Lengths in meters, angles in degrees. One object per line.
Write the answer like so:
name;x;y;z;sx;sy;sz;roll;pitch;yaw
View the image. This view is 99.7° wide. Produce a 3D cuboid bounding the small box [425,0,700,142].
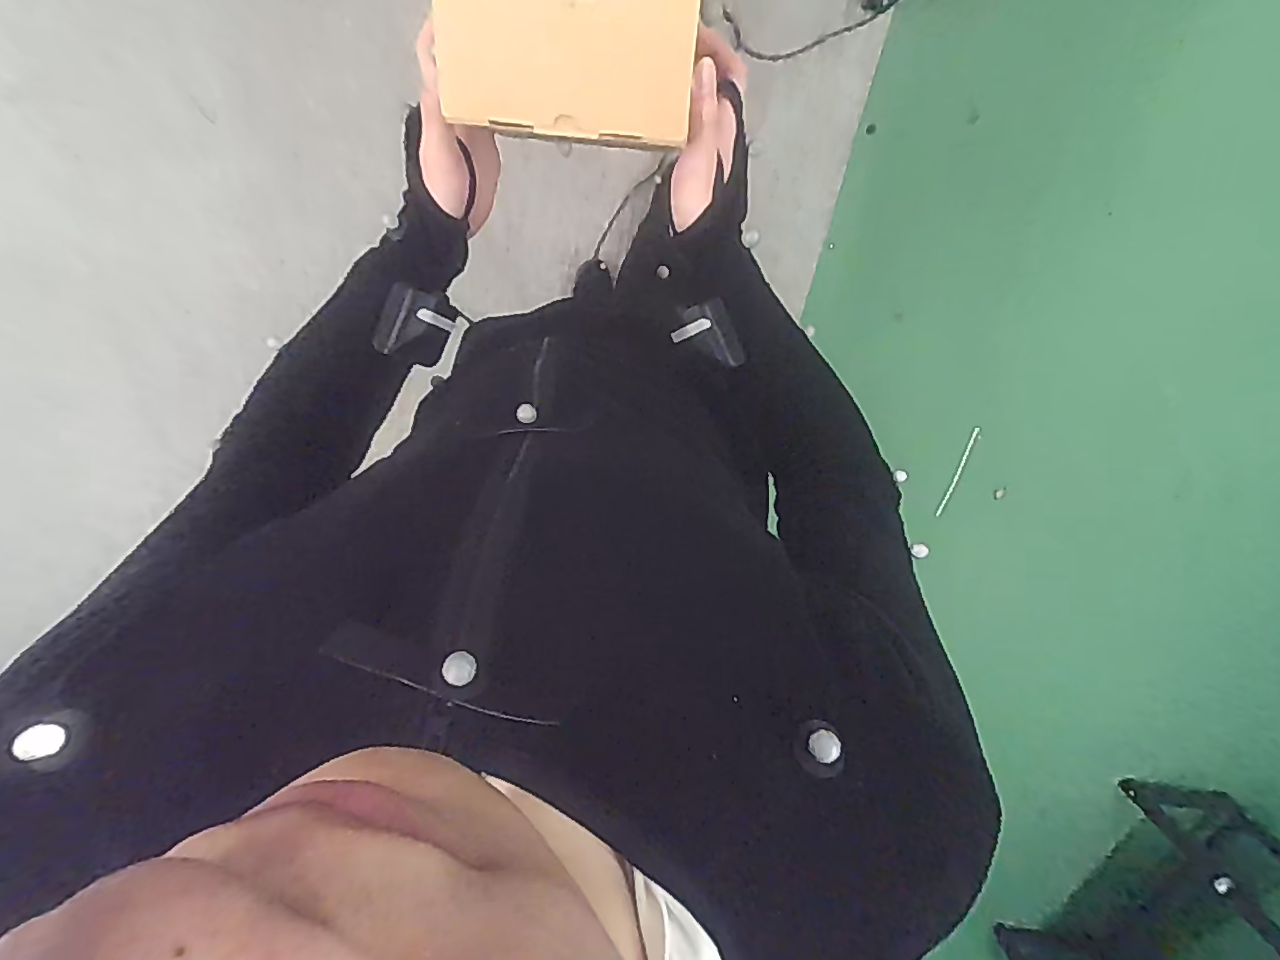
small box;-0.046;-0.350;0.380;0.168;0.176;0.179;4;121;-3
